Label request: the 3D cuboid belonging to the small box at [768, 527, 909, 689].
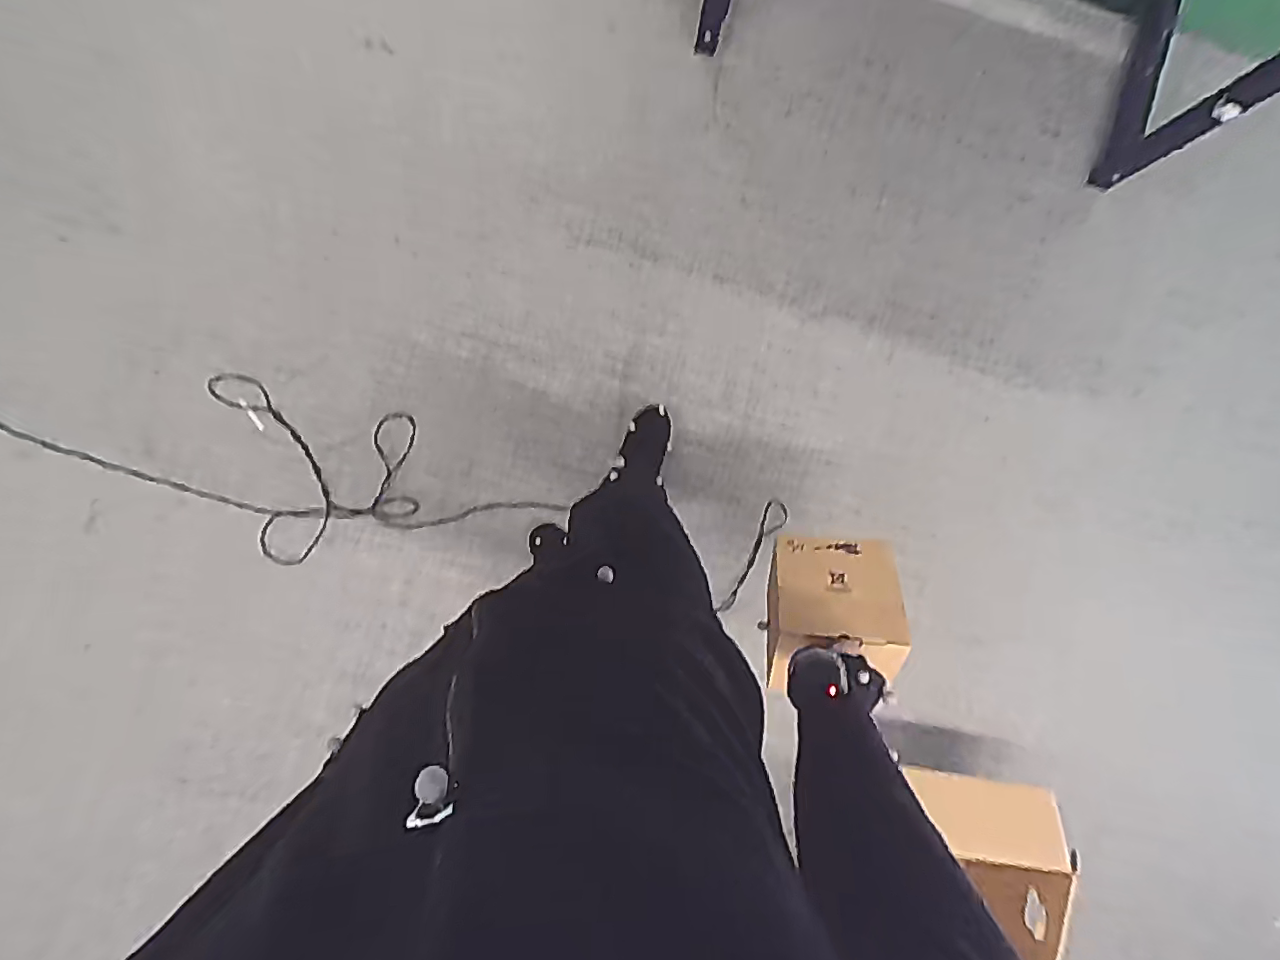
[{"bbox_3d":[0.284,0.194,0.811,0.168,0.176,0.179,3,46,10],"label":"small box"}]
